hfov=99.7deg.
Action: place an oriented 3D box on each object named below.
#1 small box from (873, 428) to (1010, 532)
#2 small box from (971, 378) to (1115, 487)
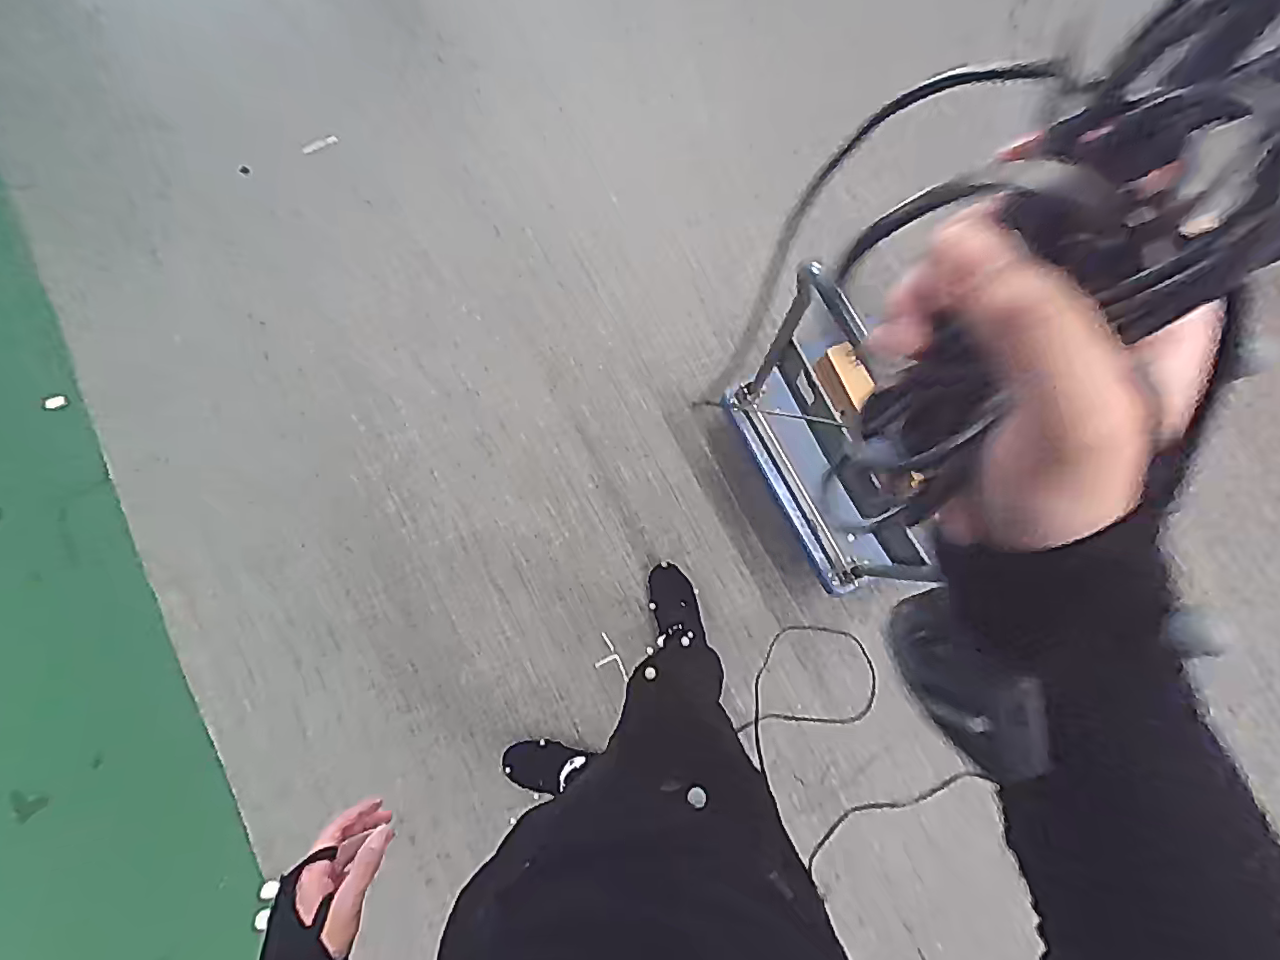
[{"bbox_3d":[0.665,0.006,1.215,0.179,0.176,0.168,-25,81,-3],"label":"small box"},{"bbox_3d":[0.898,-0.100,1.231,0.179,0.176,0.168,-28,81,-4],"label":"small box"}]
